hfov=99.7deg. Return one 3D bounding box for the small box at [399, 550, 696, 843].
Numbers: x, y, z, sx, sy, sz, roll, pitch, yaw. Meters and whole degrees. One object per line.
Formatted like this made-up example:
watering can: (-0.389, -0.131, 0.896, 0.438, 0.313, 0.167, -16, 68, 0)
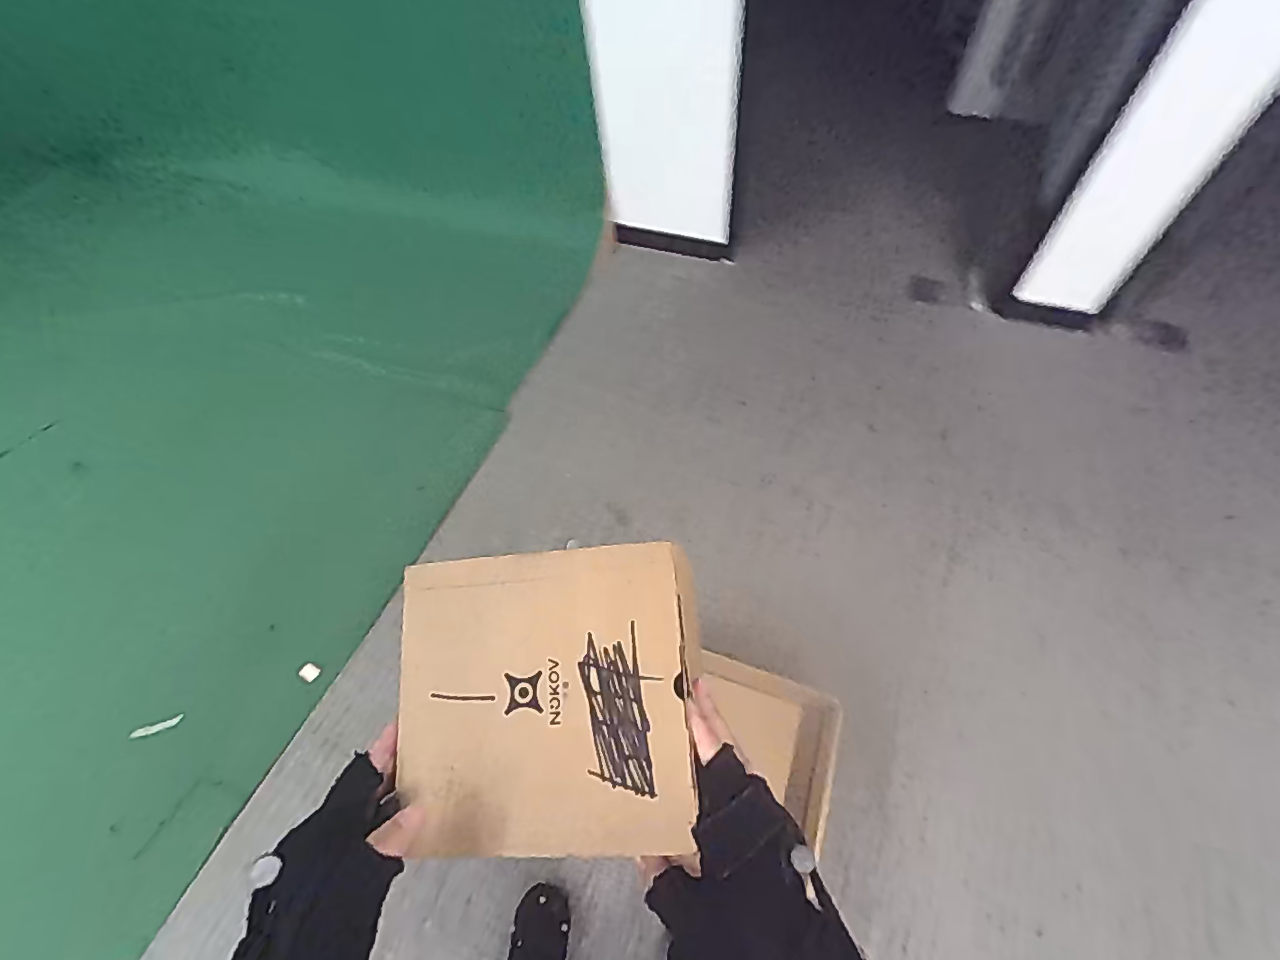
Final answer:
small box: (-0.051, 0.151, 0.409, 0.179, 0.176, 0.168, -7, 73, 8)
